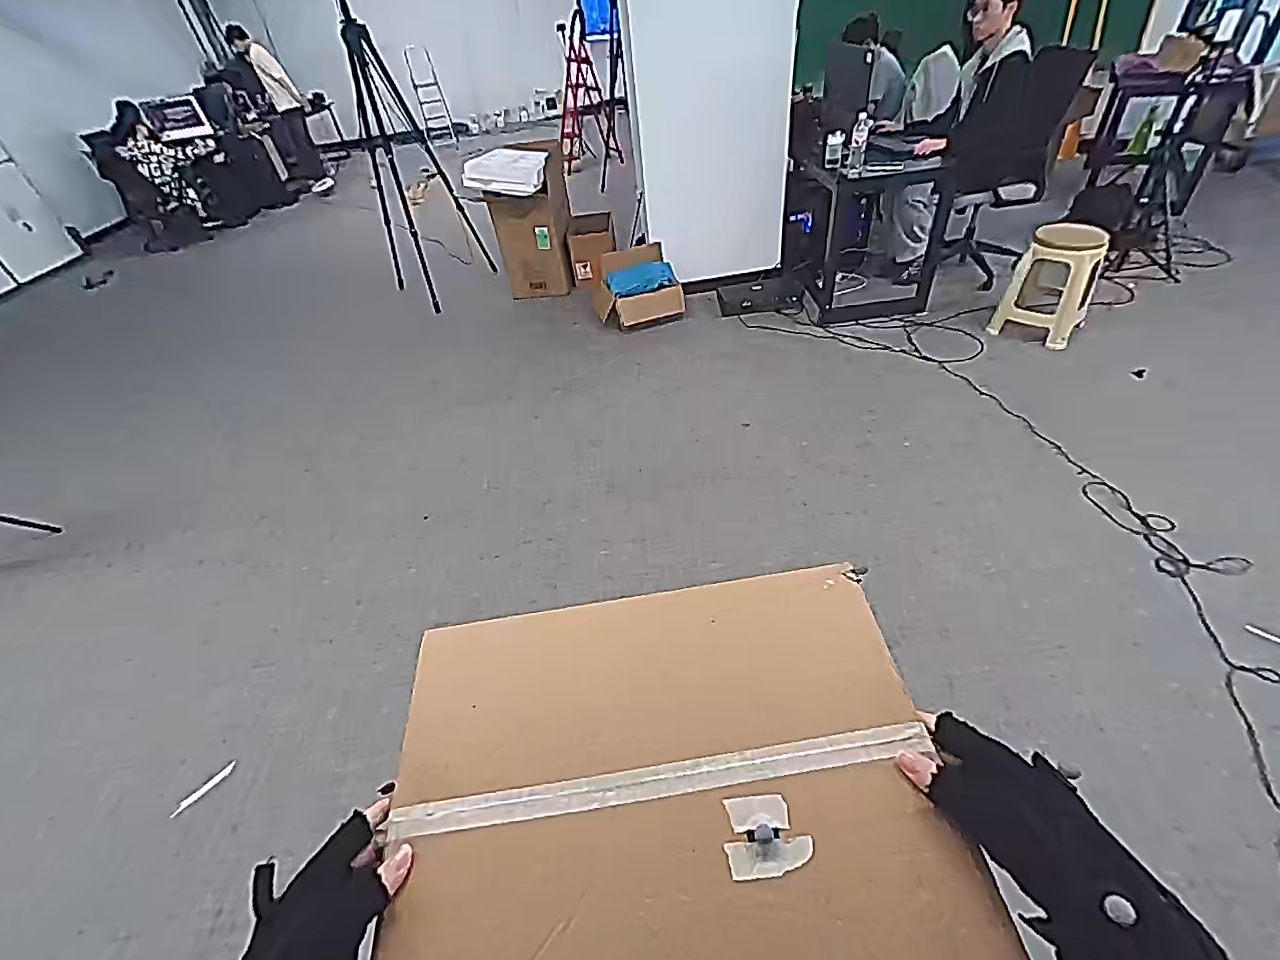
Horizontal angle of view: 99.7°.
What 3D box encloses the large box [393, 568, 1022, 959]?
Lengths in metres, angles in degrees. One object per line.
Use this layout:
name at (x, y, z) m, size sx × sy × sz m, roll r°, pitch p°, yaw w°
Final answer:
large box at (0.034, 0.328, 0.526) m, size 0.408 × 0.320 × 0.320 m, roll -9°, pitch 49°, yaw 0°
